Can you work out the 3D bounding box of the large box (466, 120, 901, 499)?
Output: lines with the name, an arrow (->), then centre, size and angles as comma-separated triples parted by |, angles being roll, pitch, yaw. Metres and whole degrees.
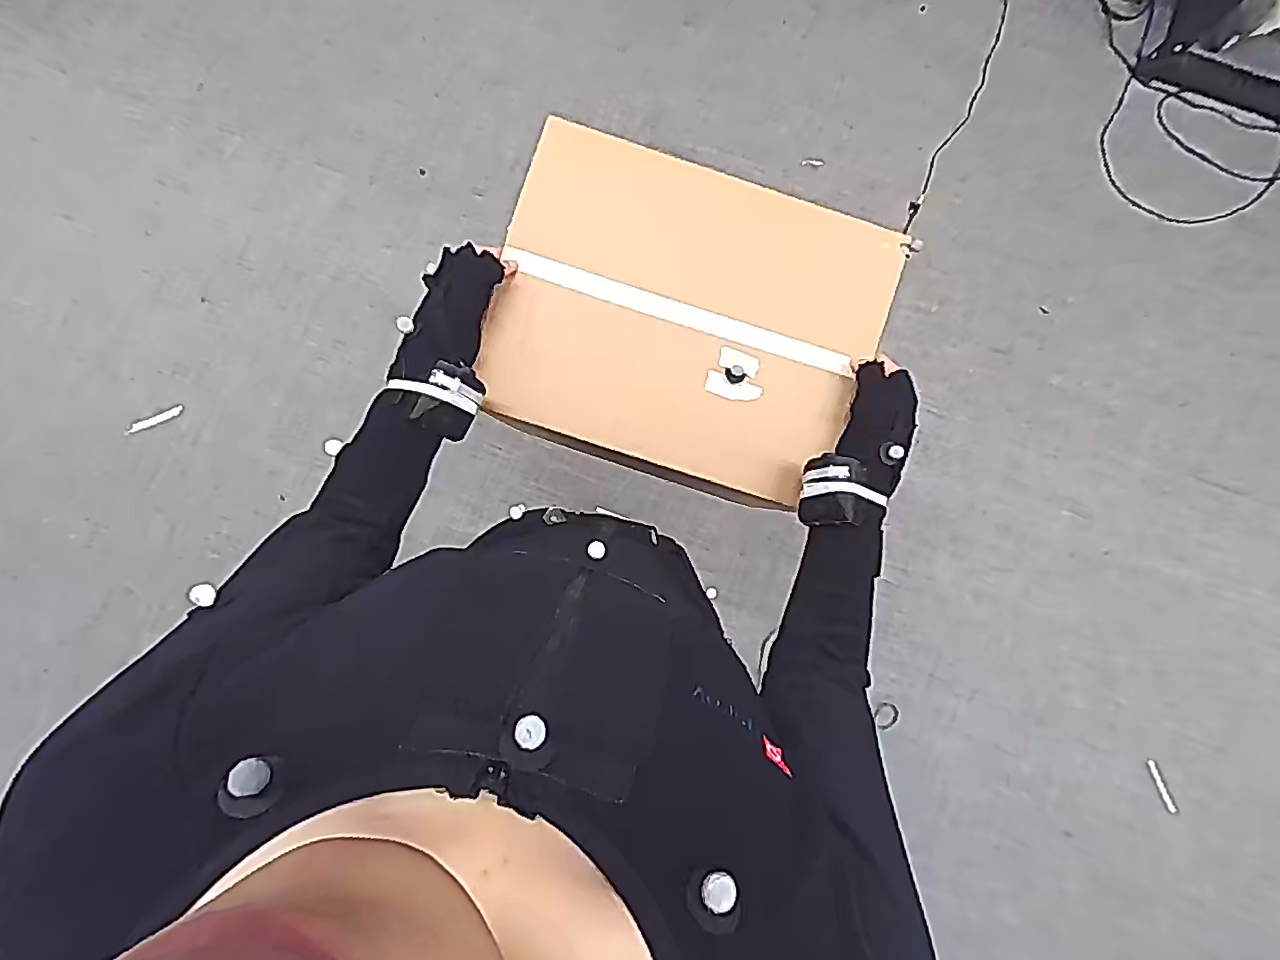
large box -> 0.042, -0.177, 0.718 | 0.408, 0.320, 0.320 | 18, 89, -2
